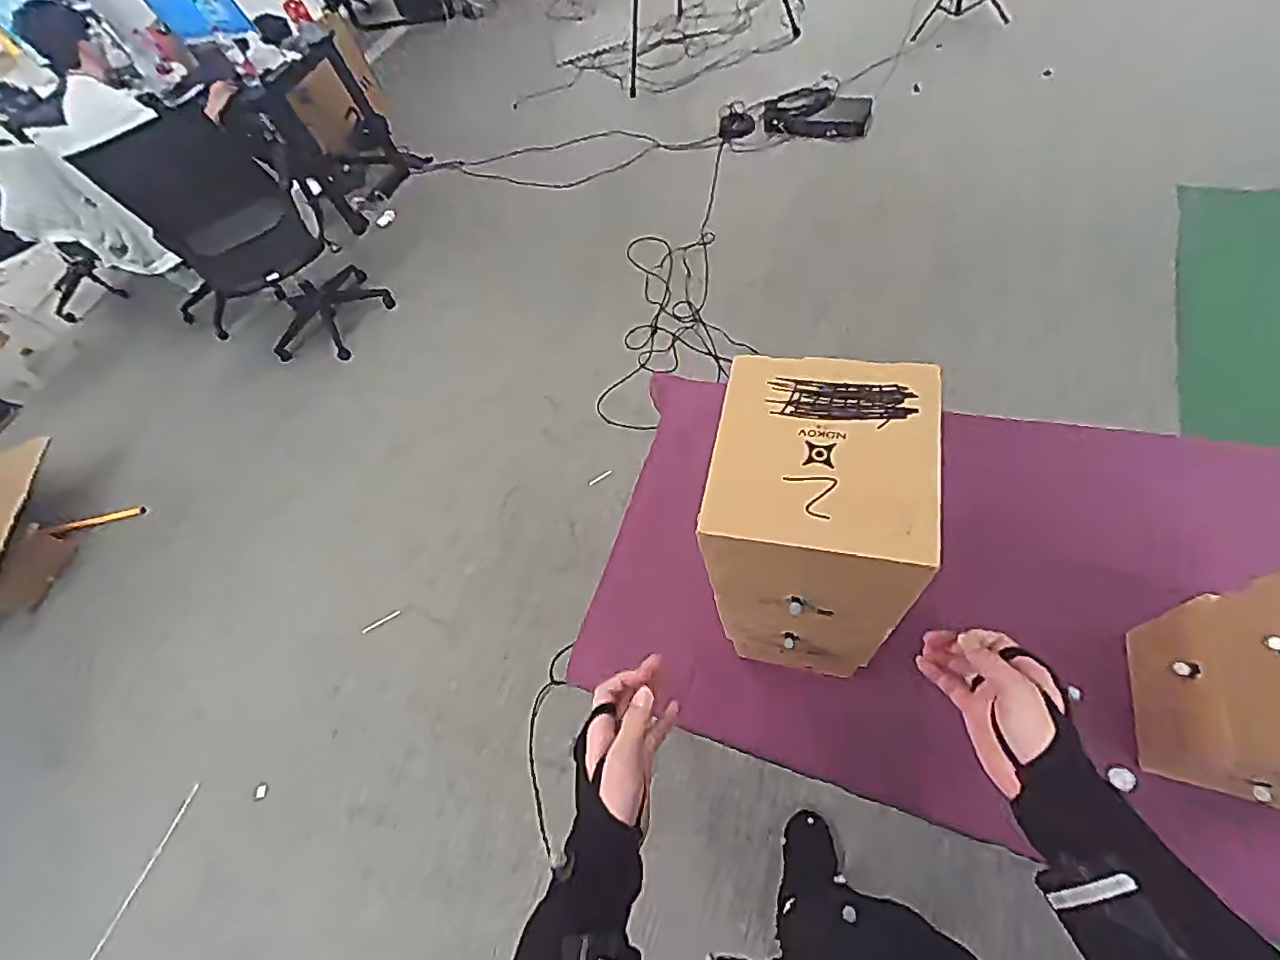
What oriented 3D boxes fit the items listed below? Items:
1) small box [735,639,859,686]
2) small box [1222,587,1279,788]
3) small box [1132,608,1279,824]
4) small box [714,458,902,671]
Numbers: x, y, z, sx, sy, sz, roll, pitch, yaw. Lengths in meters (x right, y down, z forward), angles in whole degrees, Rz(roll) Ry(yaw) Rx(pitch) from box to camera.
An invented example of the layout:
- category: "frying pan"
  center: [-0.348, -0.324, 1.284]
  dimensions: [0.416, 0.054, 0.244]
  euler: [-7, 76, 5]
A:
- category: "small box"
  center: [0.225, 0.169, 0.757]
  dimensions: [0.168, 0.176, 0.179]
  euler: [7, 61, 18]
- category: "small box"
  center: [0.647, 0.187, 0.446]
  dimensions: [0.168, 0.176, 0.179]
  euler: [12, 61, 20]
- category: "small box"
  center: [0.682, 0.266, 0.587]
  dimensions: [0.168, 0.176, 0.179]
  euler: [10, 61, 20]
- category: "small box"
  center: [0.187, 0.100, 0.610]
  dimensions: [0.168, 0.176, 0.179]
  euler: [8, 61, 17]
